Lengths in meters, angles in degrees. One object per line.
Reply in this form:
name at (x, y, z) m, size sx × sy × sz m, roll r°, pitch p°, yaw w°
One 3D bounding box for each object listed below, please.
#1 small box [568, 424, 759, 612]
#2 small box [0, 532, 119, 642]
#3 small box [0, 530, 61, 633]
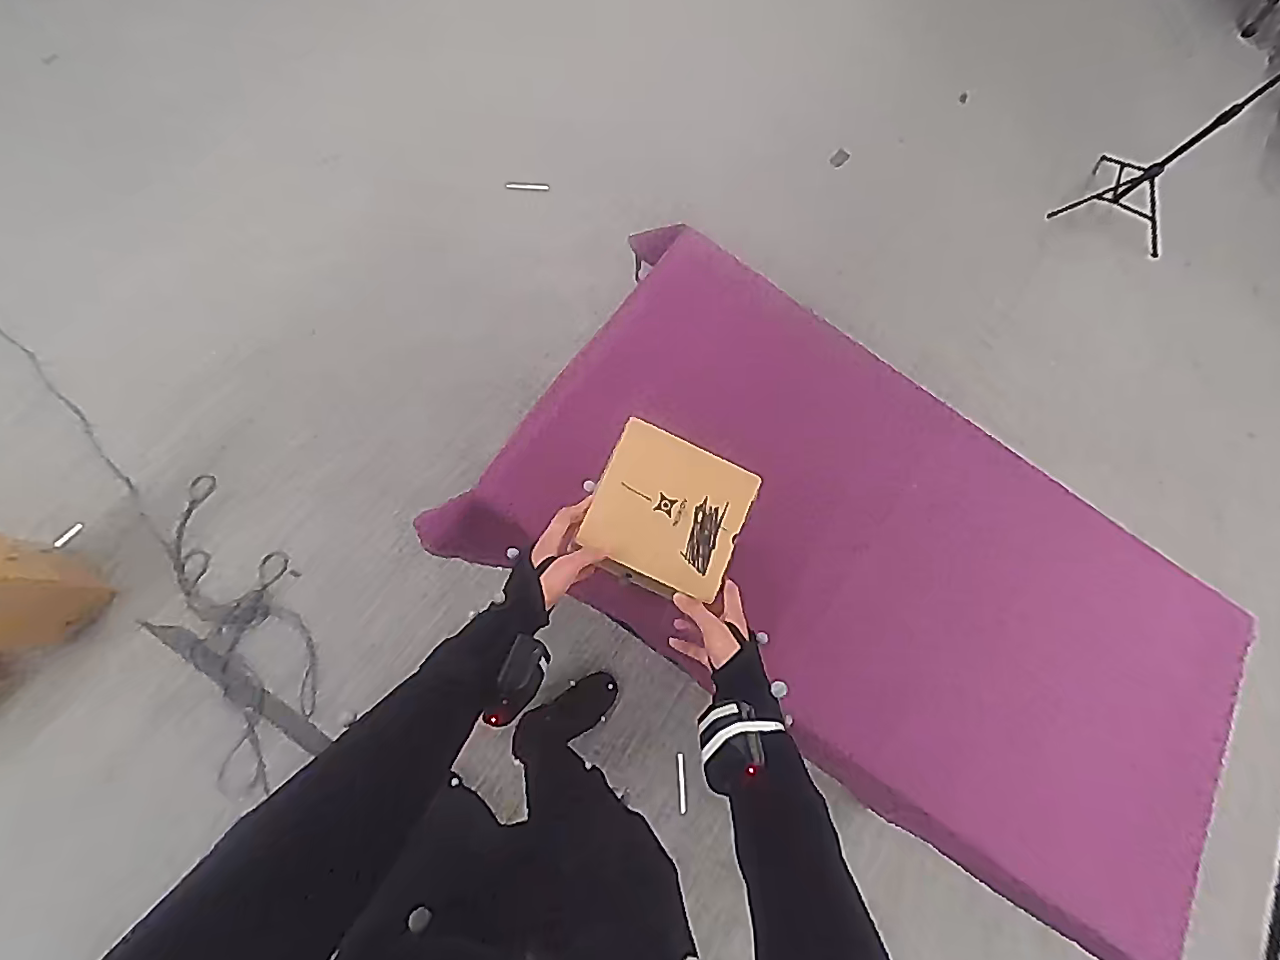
small box at (0.020, 0.055, 0.699) m, size 0.179 × 0.176 × 0.168 m, roll 26°, pitch 75°, yaw -4°
small box at (-1.339, 0.243, 1.195) m, size 0.179 × 0.176 × 0.168 m, roll 37°, pitch 72°, yaw 1°
small box at (-1.311, 0.200, 1.041) m, size 0.168 × 0.176 × 0.179 m, roll 39°, pitch 72°, yaw 2°
